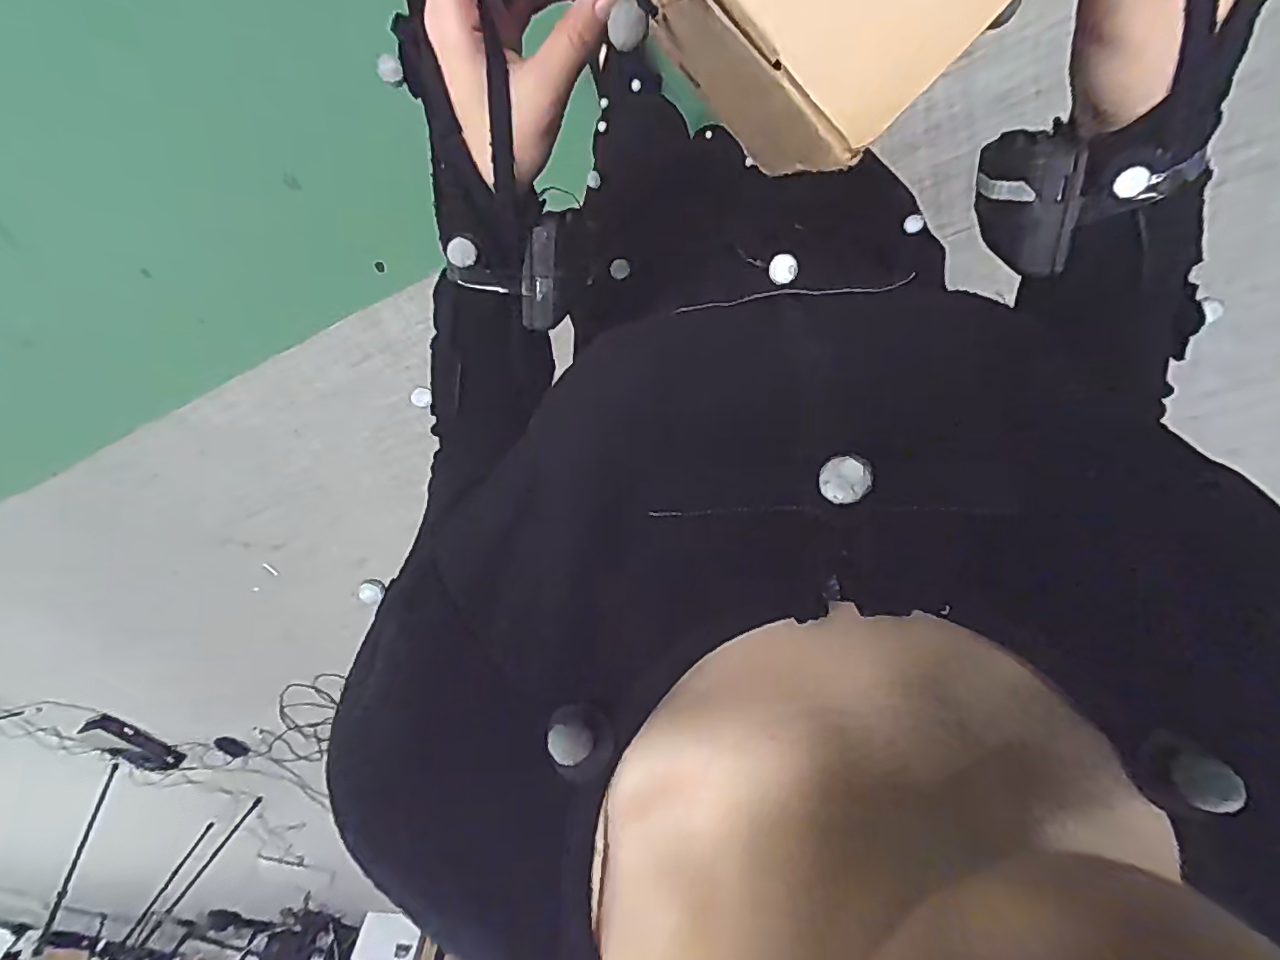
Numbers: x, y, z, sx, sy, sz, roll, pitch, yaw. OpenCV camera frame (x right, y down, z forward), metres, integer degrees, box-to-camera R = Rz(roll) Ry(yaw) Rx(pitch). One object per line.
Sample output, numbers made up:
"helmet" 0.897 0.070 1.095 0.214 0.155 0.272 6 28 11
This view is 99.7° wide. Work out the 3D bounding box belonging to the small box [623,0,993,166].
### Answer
"small box" 0.061 -0.229 0.168 0.168 0.176 0.179 40 116 -16
